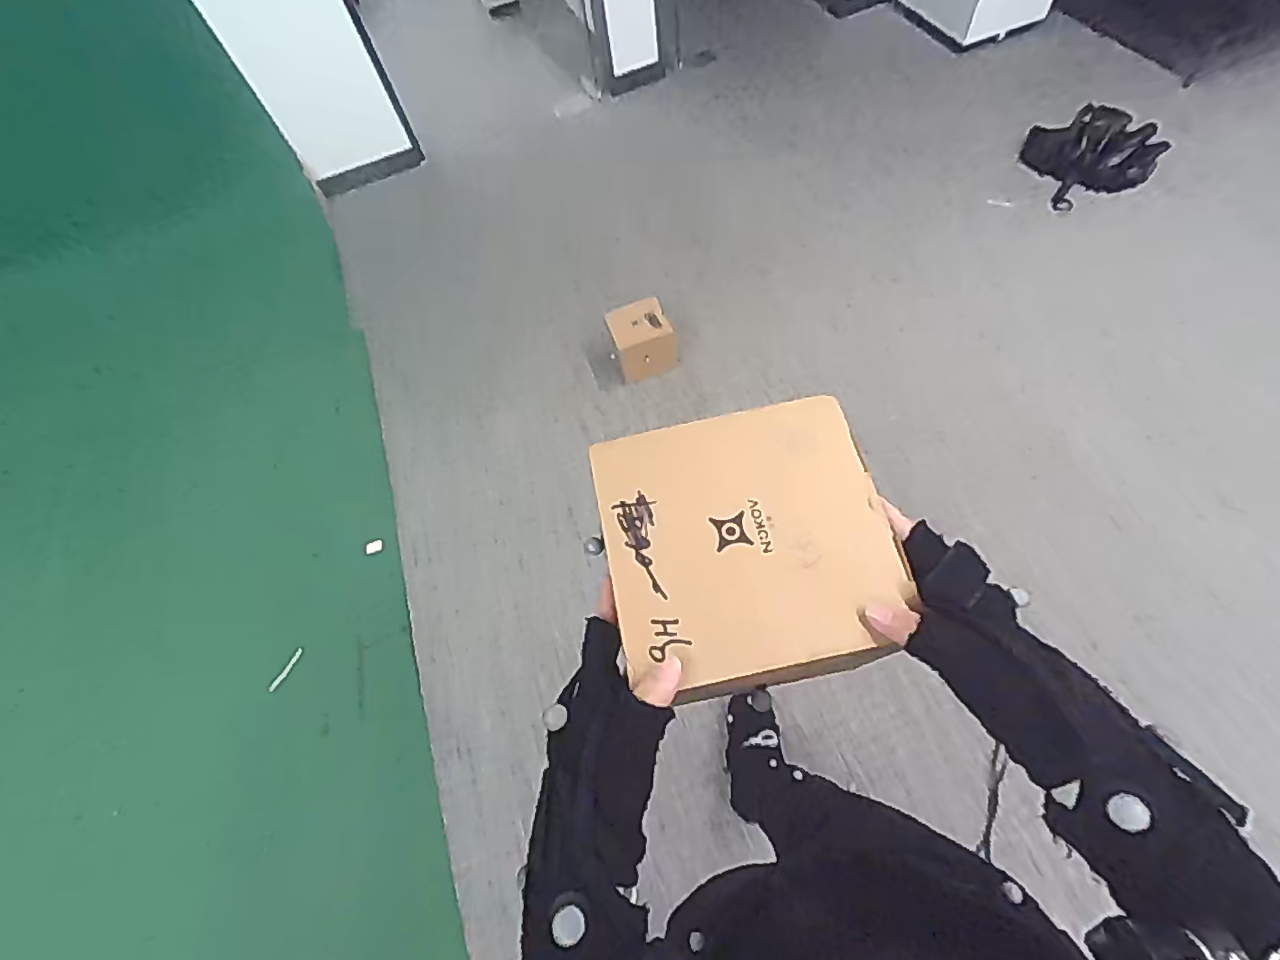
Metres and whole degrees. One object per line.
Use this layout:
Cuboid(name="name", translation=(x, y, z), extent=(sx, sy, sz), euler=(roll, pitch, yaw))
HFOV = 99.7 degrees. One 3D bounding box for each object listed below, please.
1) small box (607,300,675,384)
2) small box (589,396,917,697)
Cuboid(name="small box", translation=(0.010, -0.435, 1.717), extent=(0.179, 0.176, 0.168), euler=(-17, 59, -1))
Cuboid(name="small box", translation=(0.067, 0.062, 0.414), extent=(0.179, 0.176, 0.168), euler=(-11, 64, -1))
